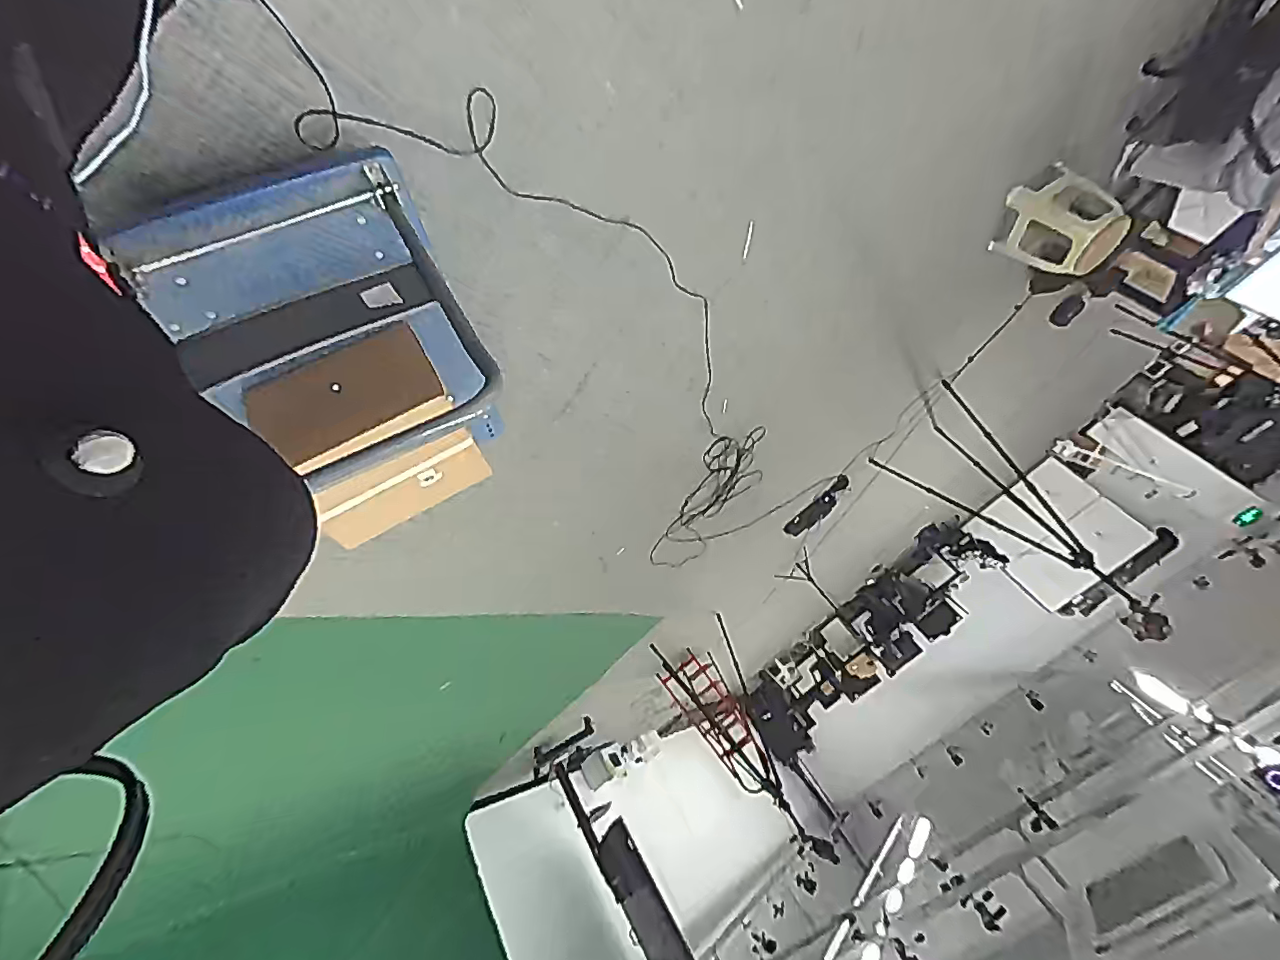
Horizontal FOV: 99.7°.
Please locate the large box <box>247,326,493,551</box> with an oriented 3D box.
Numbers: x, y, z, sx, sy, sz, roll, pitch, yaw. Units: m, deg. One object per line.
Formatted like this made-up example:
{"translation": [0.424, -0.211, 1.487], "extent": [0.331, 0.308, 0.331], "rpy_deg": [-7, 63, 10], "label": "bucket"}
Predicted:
{"translation": [-0.650, -0.103, 1.334], "extent": [0.408, 0.320, 0.320], "rpy_deg": [-32, 149, -12], "label": "large box"}
